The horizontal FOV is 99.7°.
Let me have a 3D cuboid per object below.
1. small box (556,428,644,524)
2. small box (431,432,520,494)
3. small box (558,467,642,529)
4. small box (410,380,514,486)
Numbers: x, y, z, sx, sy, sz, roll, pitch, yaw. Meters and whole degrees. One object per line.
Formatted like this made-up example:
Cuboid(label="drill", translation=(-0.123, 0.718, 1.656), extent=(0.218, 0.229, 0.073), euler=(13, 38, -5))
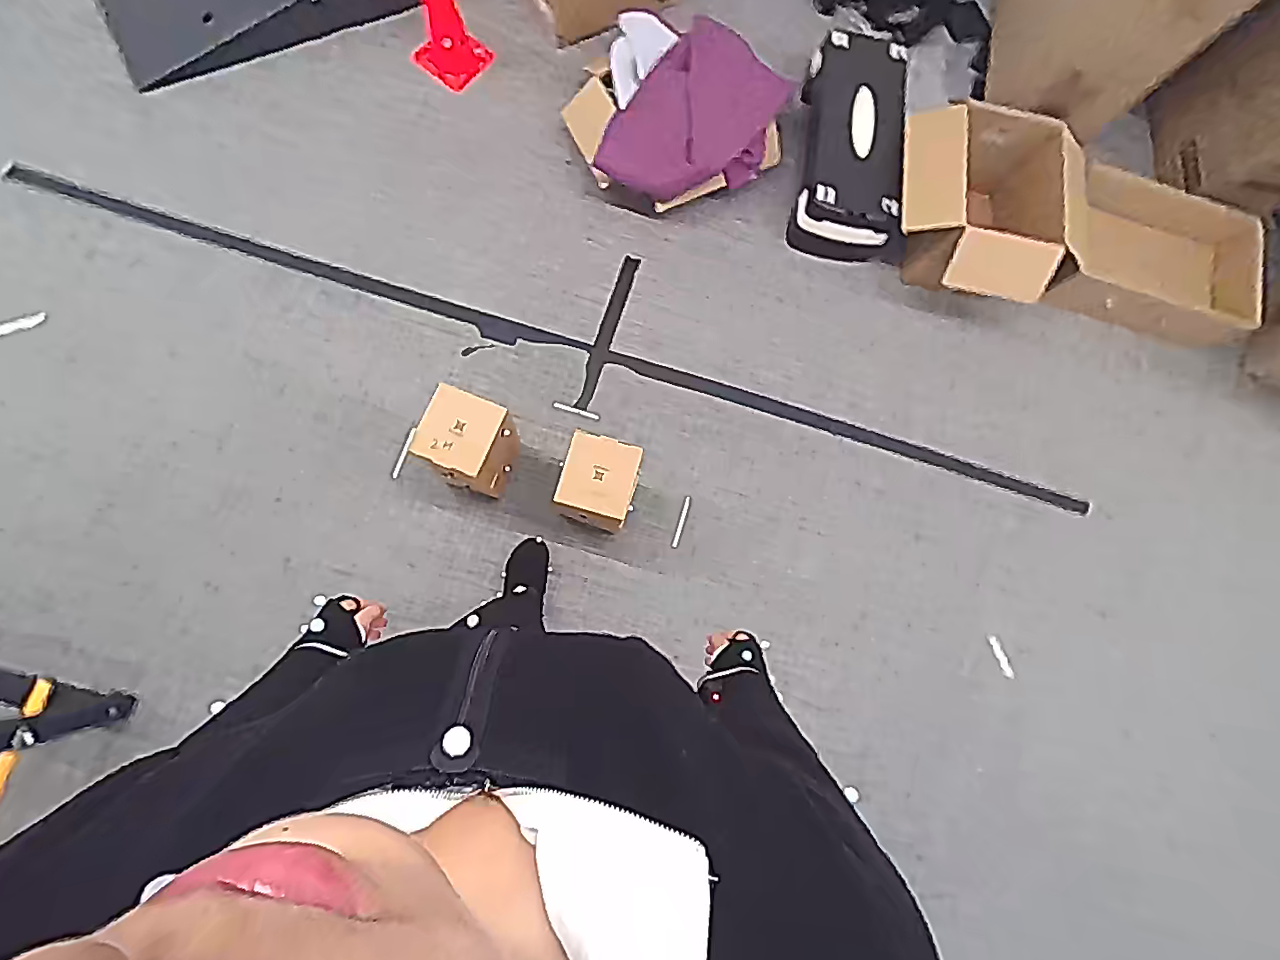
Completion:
Cuboid(label="small box", translation=(-0.098, -0.003, 1.304), extent=(0.168, 0.176, 0.179), euler=(16, 80, -2))
Cuboid(label="small box", translation=(-0.430, -0.071, 1.445), extent=(0.168, 0.176, 0.179), euler=(17, 79, -3))
Cuboid(label="small box", translation=(-0.110, 0.029, 1.463), extent=(0.179, 0.176, 0.168), euler=(21, 79, -3))
Cuboid(label="small box", translation=(-0.410, -0.104, 1.283), extent=(0.168, 0.176, 0.179), euler=(22, 78, -1))
